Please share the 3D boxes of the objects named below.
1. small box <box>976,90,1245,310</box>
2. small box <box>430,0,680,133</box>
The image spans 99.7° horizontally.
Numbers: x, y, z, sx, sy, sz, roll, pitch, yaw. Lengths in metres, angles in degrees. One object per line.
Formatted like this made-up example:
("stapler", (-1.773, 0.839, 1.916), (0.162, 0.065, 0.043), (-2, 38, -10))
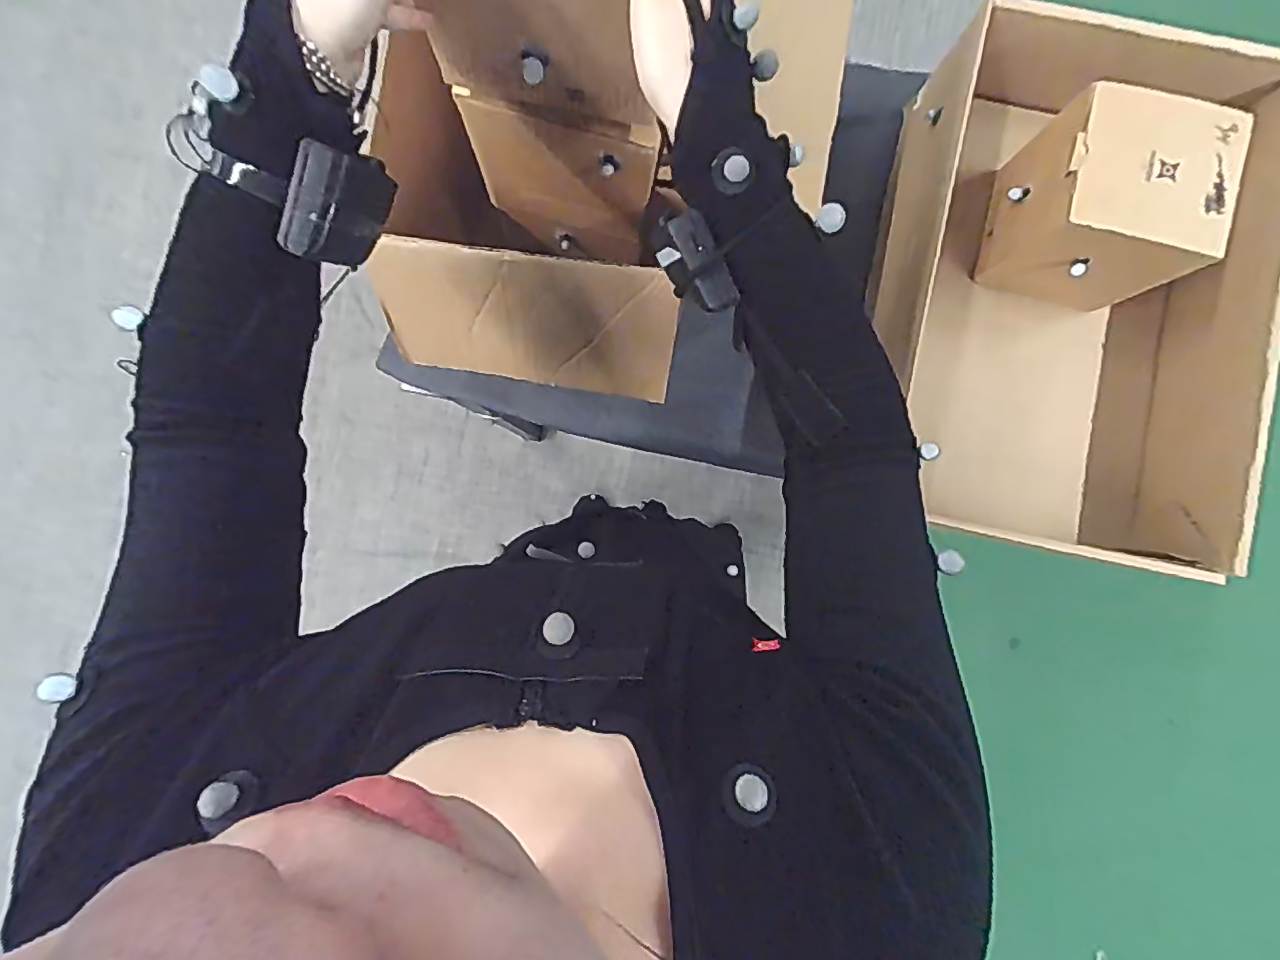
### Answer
("small box", (0.558, -0.329, 0.669), (0.179, 0.176, 0.168), (14, 89, 2))
("small box", (-0.048, -0.378, 0.354), (0.168, 0.176, 0.179), (10, 91, -5))
